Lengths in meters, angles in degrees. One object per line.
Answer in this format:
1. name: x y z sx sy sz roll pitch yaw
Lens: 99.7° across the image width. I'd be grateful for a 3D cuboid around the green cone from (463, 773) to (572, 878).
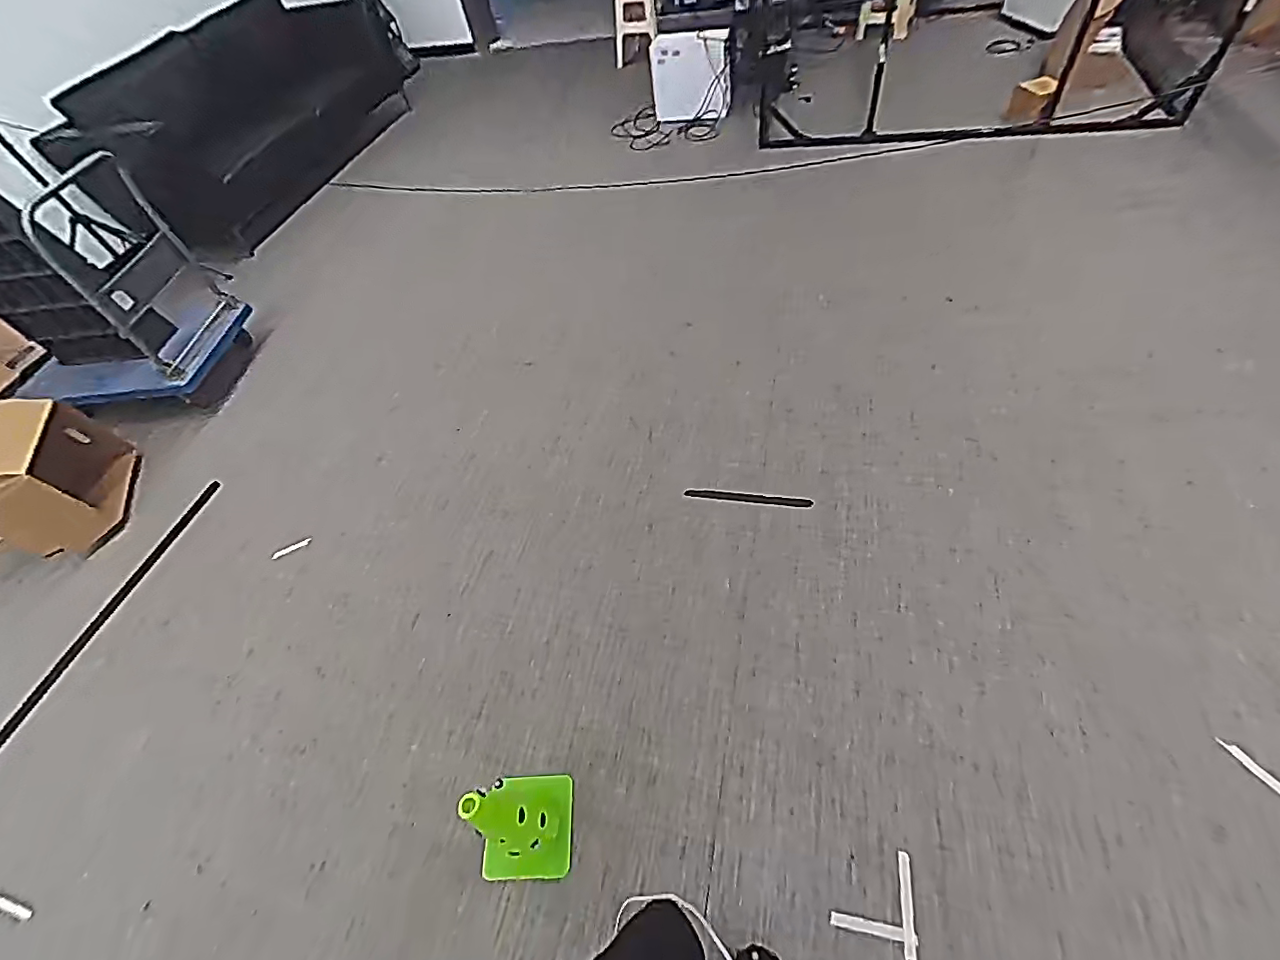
1. green cone: -0.279 0.685 1.101 0.202 0.368 0.200 -6 53 5
